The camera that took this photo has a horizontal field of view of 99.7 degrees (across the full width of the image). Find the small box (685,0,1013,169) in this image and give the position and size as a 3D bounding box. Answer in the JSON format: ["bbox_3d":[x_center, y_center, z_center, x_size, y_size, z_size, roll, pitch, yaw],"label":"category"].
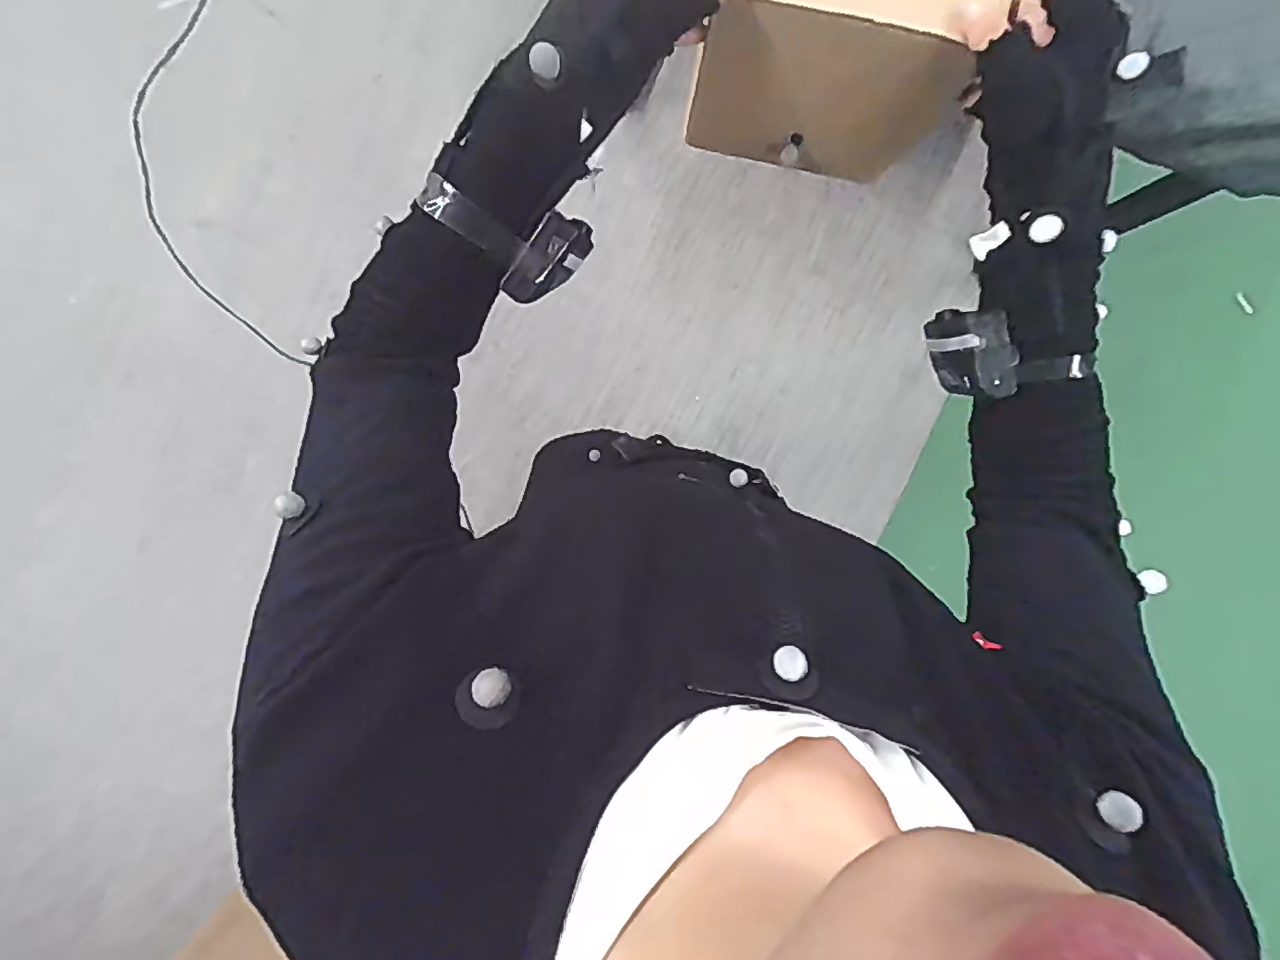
[{"bbox_3d":[0.142,-0.359,0.392,0.179,0.176,0.168,11,92,-4],"label":"small box"}]
